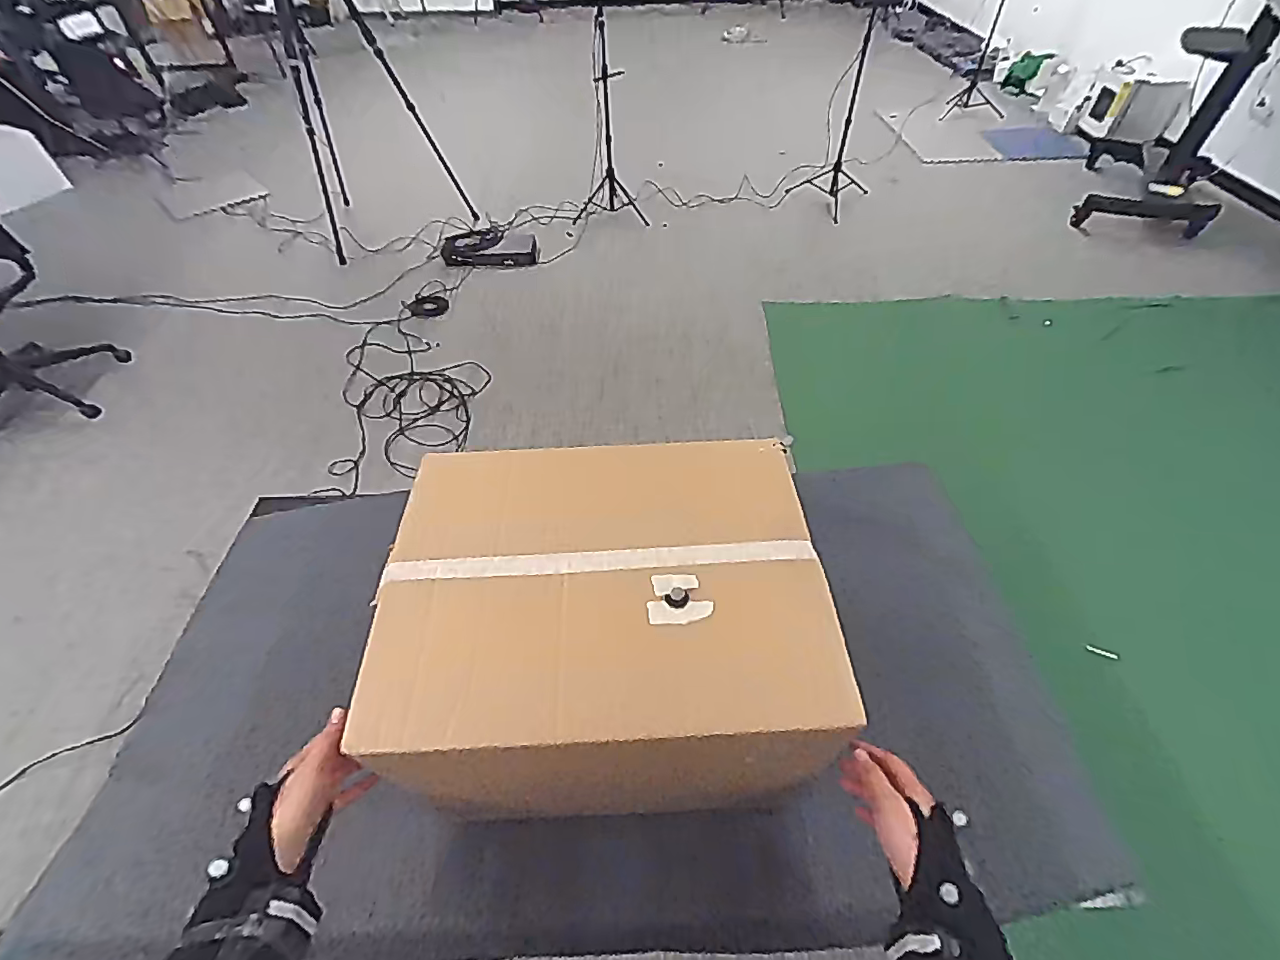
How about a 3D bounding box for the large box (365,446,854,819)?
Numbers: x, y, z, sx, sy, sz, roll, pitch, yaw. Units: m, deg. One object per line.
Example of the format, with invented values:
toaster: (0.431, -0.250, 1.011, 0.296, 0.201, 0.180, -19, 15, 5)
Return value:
large box: (-0.030, 0.183, 0.639, 0.408, 0.320, 0.320, -2, 50, -2)
